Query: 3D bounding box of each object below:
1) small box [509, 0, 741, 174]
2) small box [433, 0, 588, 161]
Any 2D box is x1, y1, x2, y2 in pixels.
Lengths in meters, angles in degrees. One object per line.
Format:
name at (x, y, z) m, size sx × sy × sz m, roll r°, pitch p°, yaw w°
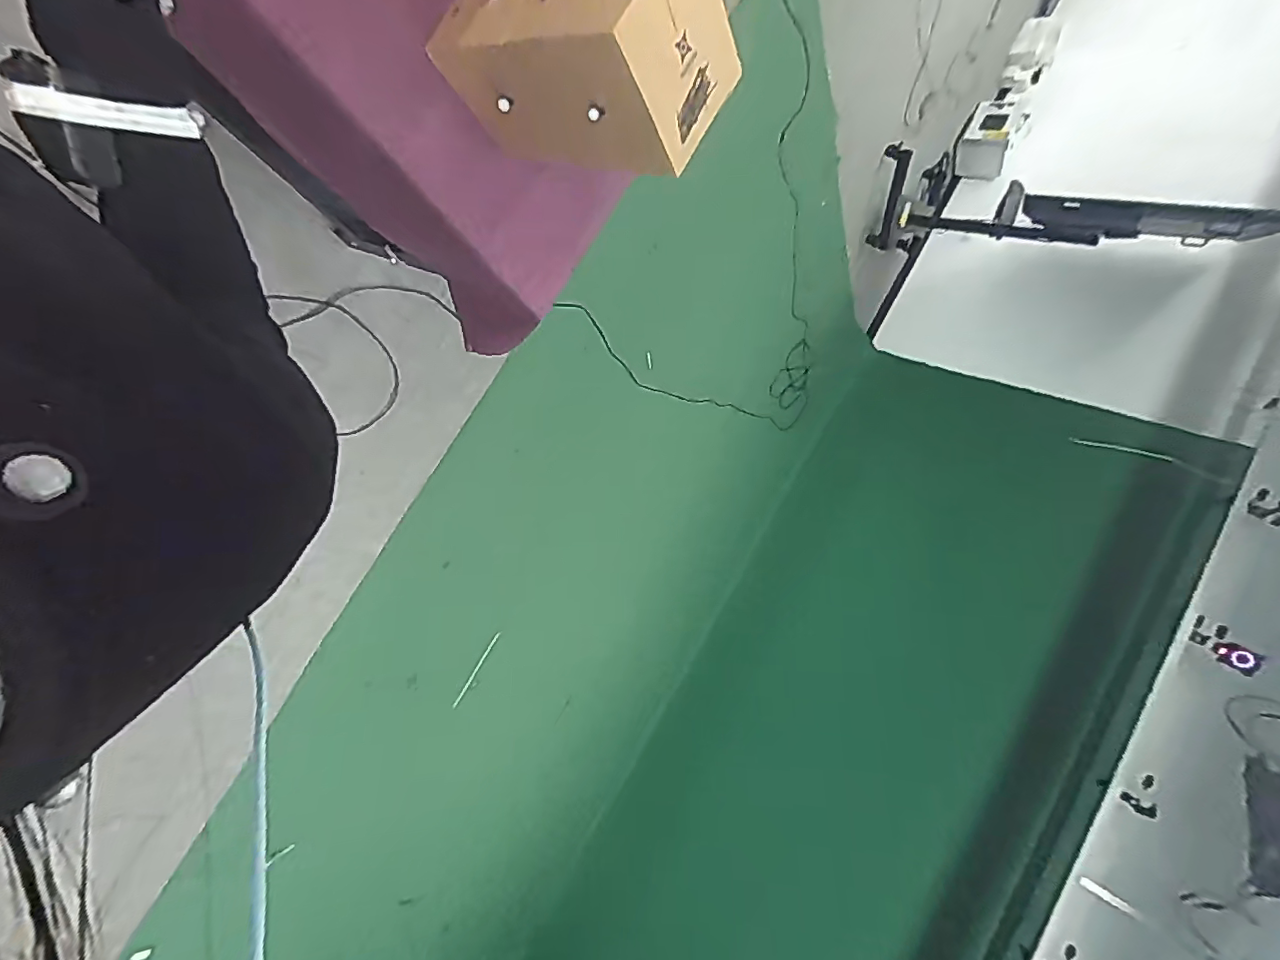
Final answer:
small box at (-0.013, -0.495, 0.629) m, size 0.168 × 0.176 × 0.179 m, roll -61°, pitch 147°, yaw -6°
small box at (-0.136, -0.558, 0.719) m, size 0.168 × 0.176 × 0.179 m, roll -61°, pitch 146°, yaw -5°
